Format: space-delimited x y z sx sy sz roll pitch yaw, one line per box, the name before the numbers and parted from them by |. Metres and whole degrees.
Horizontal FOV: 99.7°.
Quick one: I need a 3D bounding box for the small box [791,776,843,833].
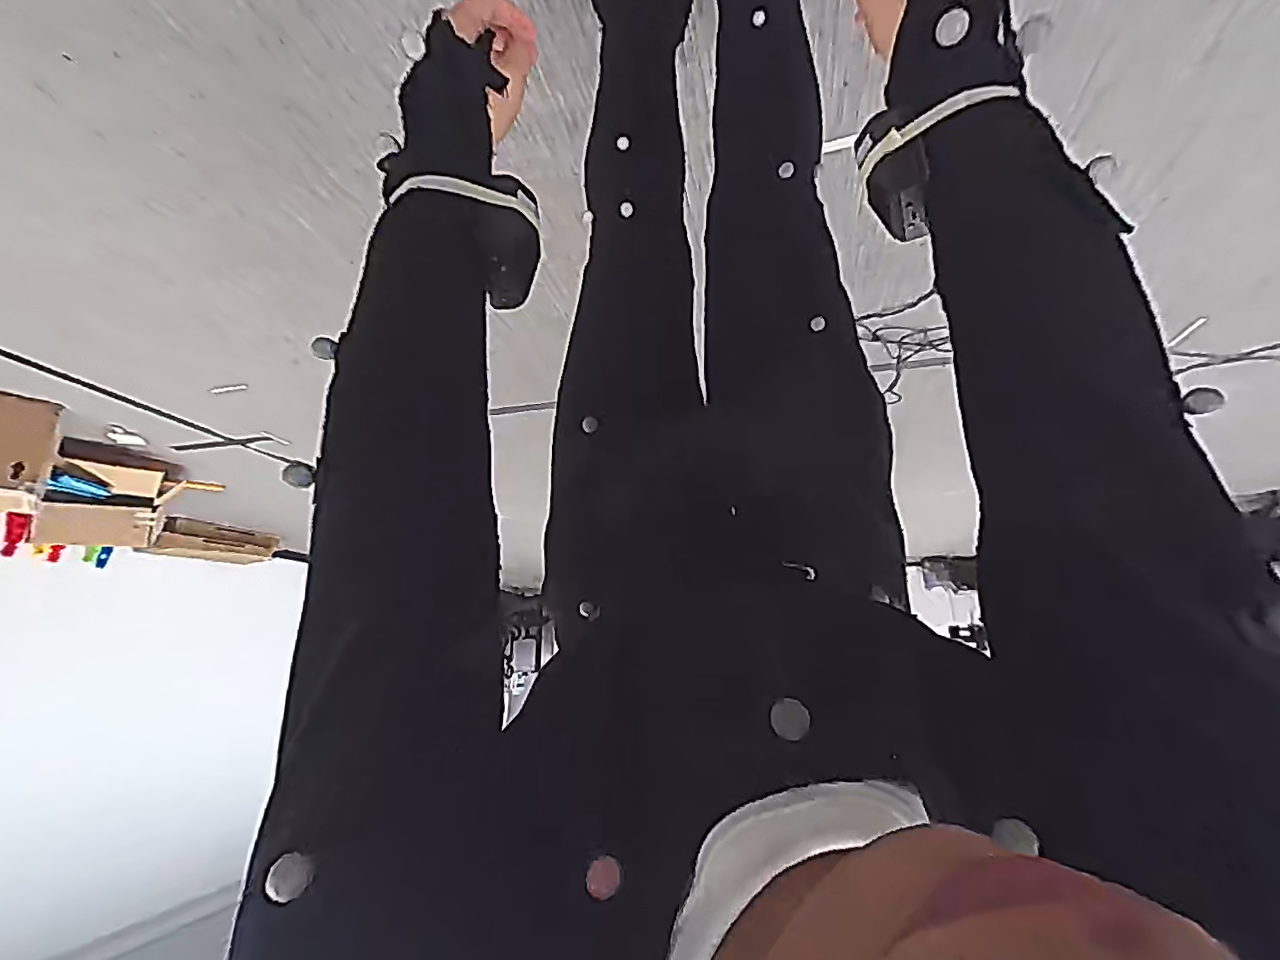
small box | 0.714 1.313 2.199 0.179 0.176 0.168 -5 163 10
